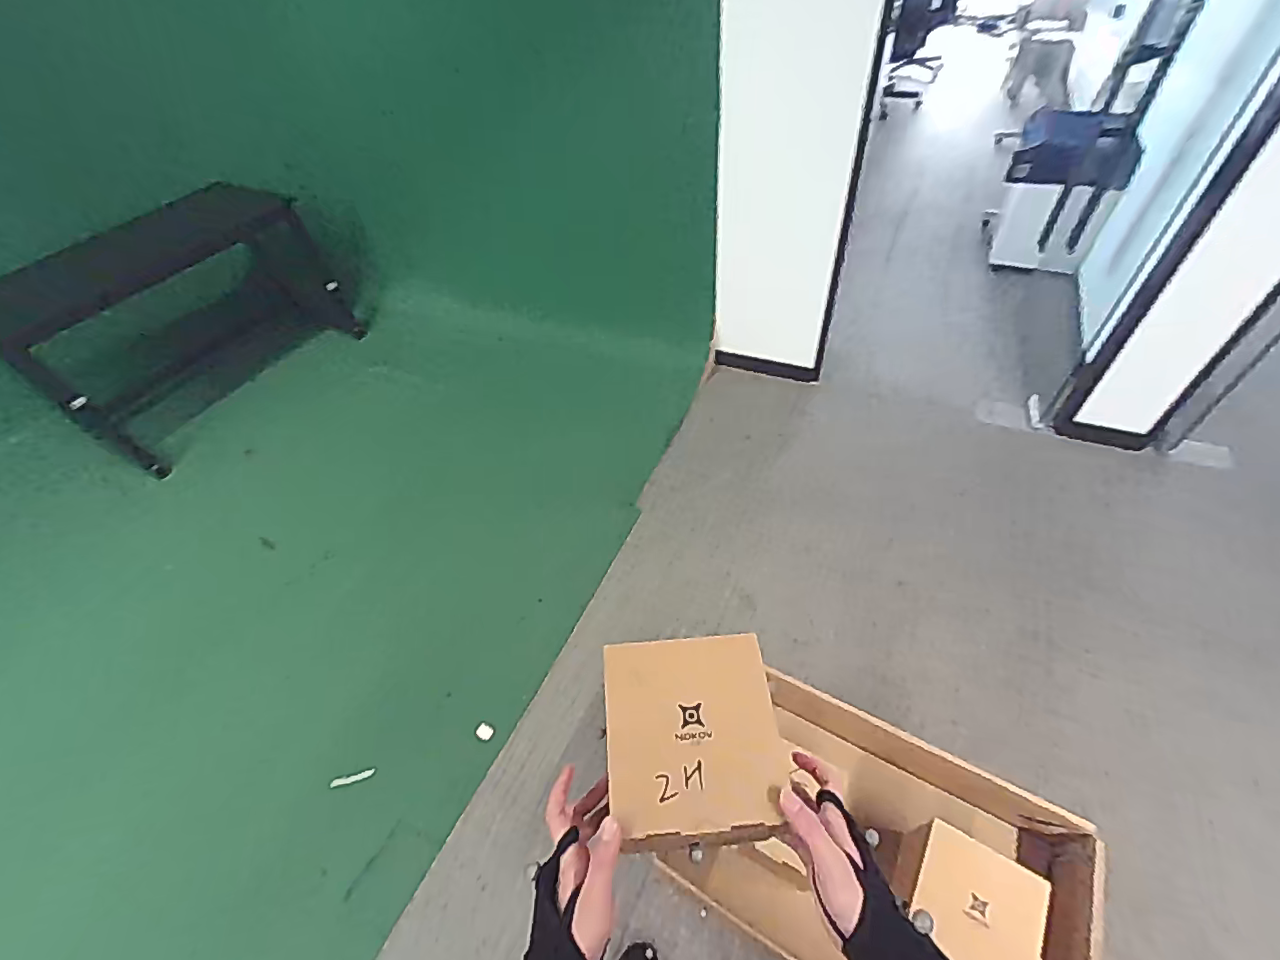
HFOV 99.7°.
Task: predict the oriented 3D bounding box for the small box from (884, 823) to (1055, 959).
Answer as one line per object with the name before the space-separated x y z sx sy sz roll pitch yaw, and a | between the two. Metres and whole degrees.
small box | 0.498 0.676 0.835 0.168 0.176 0.179 23 56 24

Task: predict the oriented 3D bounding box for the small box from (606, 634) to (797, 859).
small box | 0.049 0.284 0.575 0.168 0.176 0.179 -4 51 -2
